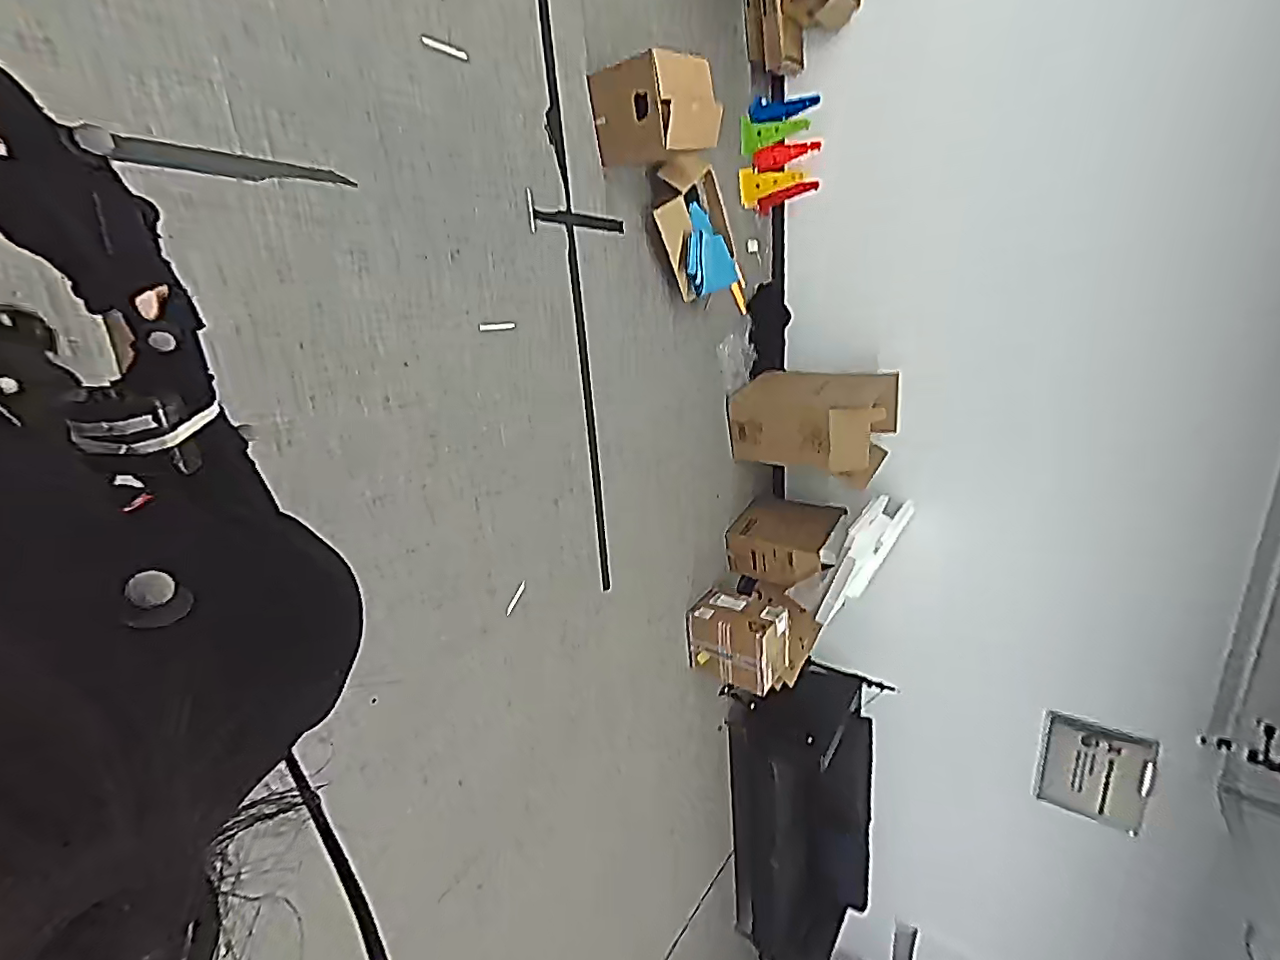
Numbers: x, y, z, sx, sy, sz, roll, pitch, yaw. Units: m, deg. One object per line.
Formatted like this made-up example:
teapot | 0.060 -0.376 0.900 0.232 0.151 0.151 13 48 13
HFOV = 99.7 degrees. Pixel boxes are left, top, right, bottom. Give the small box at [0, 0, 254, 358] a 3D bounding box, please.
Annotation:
small box | -0.391 -0.190 0.331 0.176 0.168 0.179 -111 179 -56
